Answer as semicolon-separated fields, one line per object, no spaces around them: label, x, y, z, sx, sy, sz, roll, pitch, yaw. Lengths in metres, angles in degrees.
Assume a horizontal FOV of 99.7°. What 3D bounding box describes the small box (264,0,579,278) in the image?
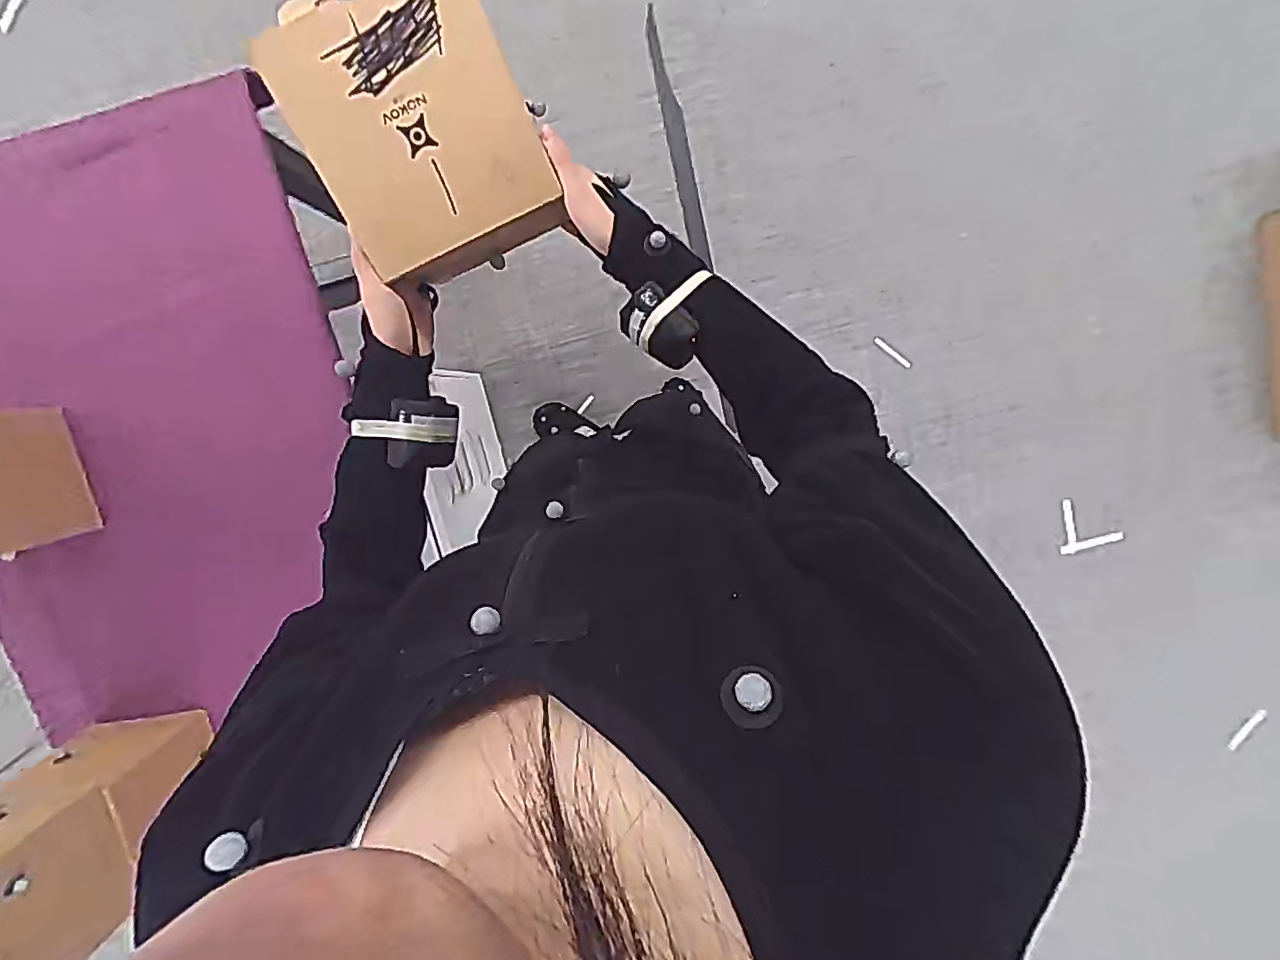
small box;-0.163;-0.291;0.473;0.168;0.176;0.179;-23;110;5

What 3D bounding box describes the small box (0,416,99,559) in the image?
small box;-0.858;0.017;0.679;0.168;0.176;0.179;-11;100;2

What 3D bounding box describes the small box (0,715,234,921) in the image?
small box;-0.726;0.456;0.754;0.179;0.176;0.168;-9;101;-1
